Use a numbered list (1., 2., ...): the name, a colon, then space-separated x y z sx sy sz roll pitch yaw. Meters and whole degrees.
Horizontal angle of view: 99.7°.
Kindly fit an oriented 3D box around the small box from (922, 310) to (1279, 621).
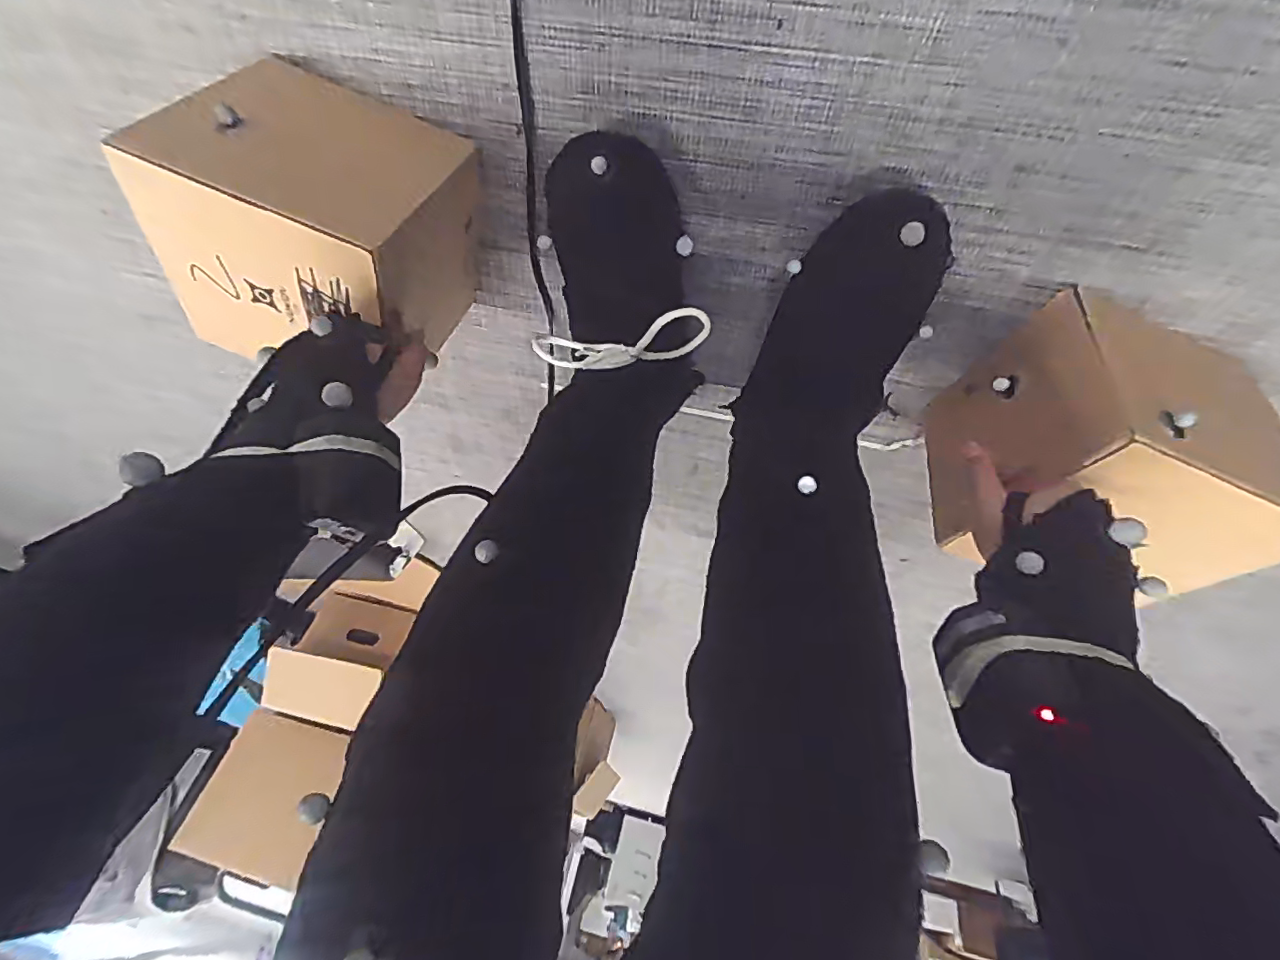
1. small box: 0.367 -0.009 0.450 0.179 0.176 0.168 21 145 -6
